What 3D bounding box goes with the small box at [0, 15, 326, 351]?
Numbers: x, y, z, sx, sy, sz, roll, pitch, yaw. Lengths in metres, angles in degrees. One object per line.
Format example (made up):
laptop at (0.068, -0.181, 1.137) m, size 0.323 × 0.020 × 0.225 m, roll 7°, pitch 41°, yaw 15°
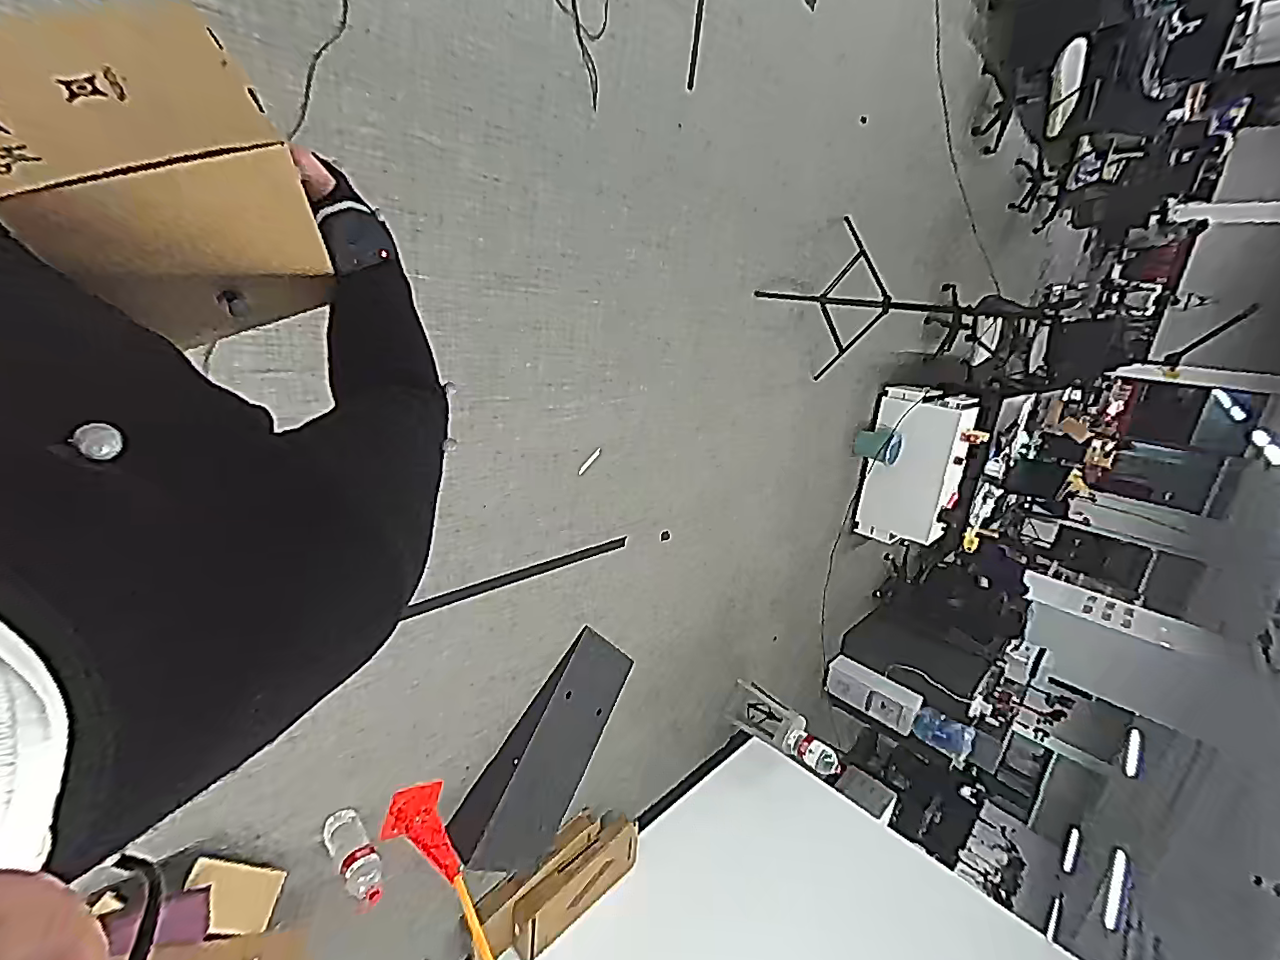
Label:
small box at (-0.398, -0.244, 0.461) m, size 0.179 × 0.168 × 0.176 m, roll -31°, pitch 166°, yaw -24°
